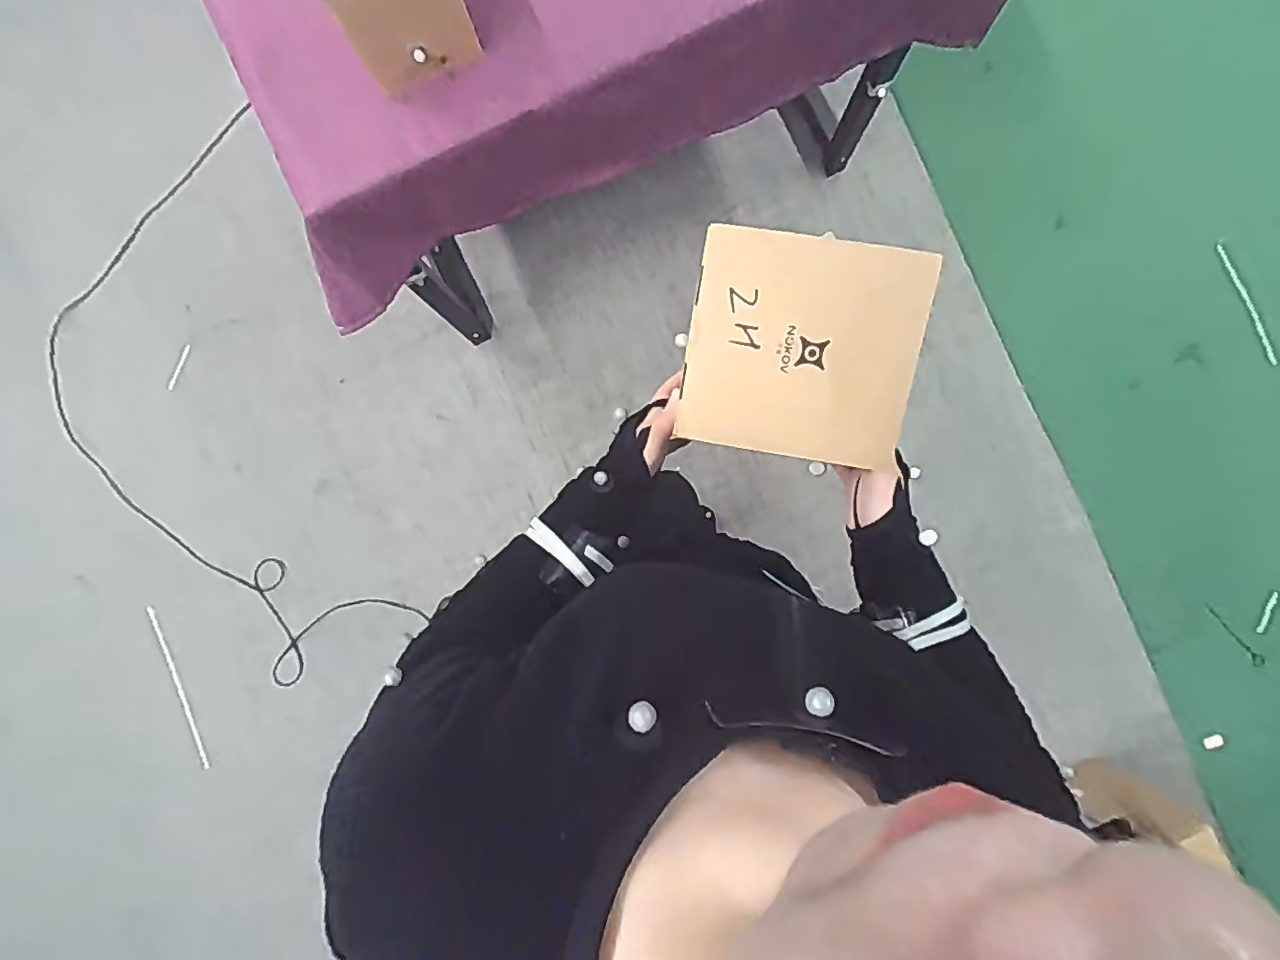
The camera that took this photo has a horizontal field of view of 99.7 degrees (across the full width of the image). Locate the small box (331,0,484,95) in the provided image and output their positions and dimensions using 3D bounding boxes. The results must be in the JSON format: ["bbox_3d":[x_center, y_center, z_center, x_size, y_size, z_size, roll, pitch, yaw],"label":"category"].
[{"bbox_3d":[-0.348,-0.708,0.768,0.168,0.176,0.179,-24,86,1],"label":"small box"}]

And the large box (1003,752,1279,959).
[{"bbox_3d":[1.169,0.949,1.272,0.320,0.320,0.408,-24,87,0],"label":"large box"}]

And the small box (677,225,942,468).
[{"bbox_3d":[0.137,-0.117,0.501,0.179,0.176,0.168,10,101,5],"label":"small box"}]
